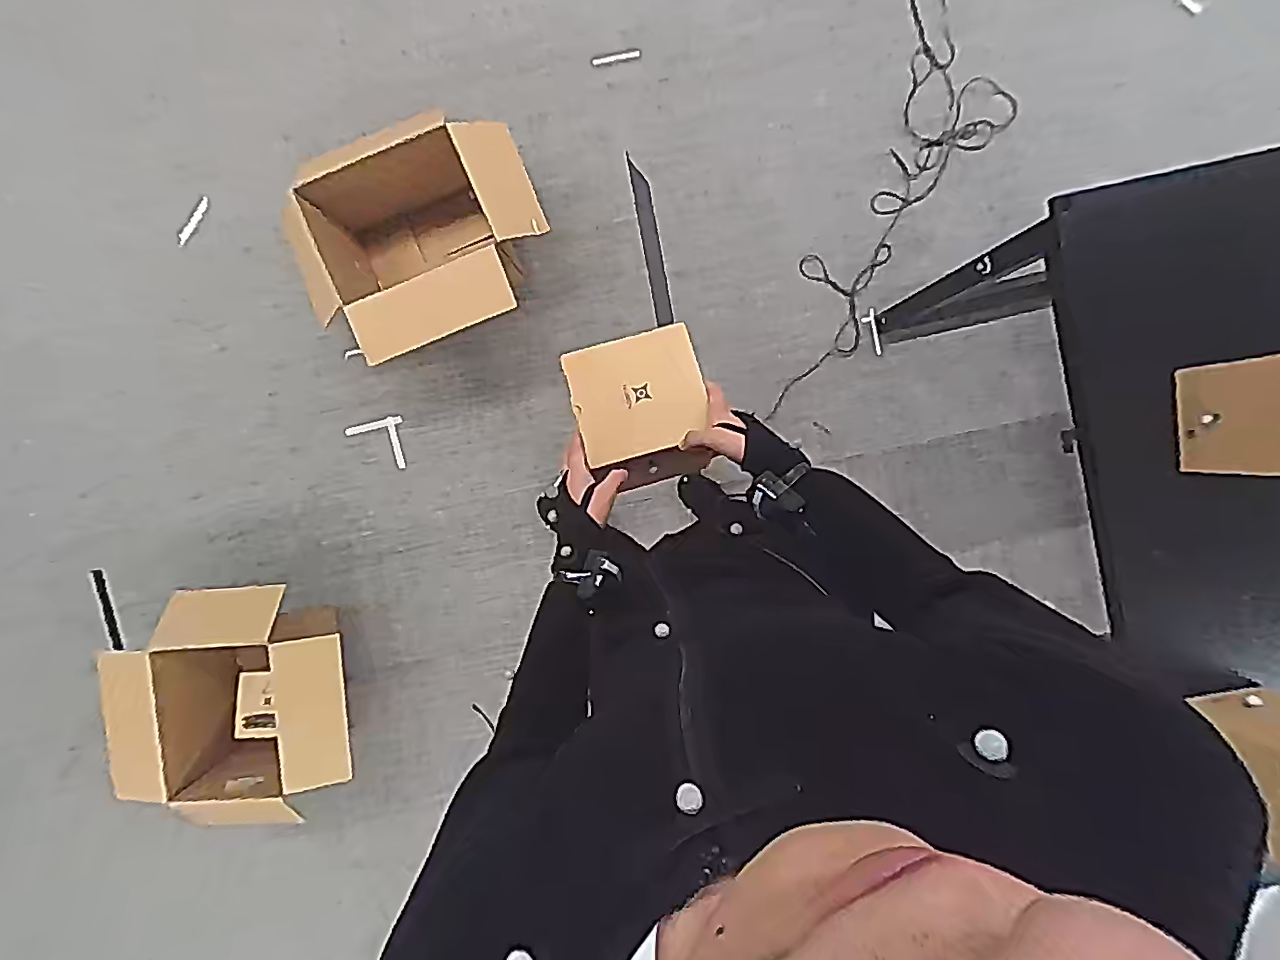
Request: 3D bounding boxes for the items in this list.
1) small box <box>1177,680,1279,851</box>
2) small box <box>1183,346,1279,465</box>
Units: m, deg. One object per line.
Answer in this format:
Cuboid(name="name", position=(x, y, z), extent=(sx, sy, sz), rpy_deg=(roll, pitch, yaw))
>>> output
Cuboid(name="small box", position=(0.978, 0.429, 0.817), extent=(0.168, 0.176, 0.179), rpy_deg=(-10, 92, 0))
Cuboid(name="small box", position=(0.957, -0.113, 0.784), extent=(0.179, 0.176, 0.168), rpy_deg=(-6, 93, 1))
